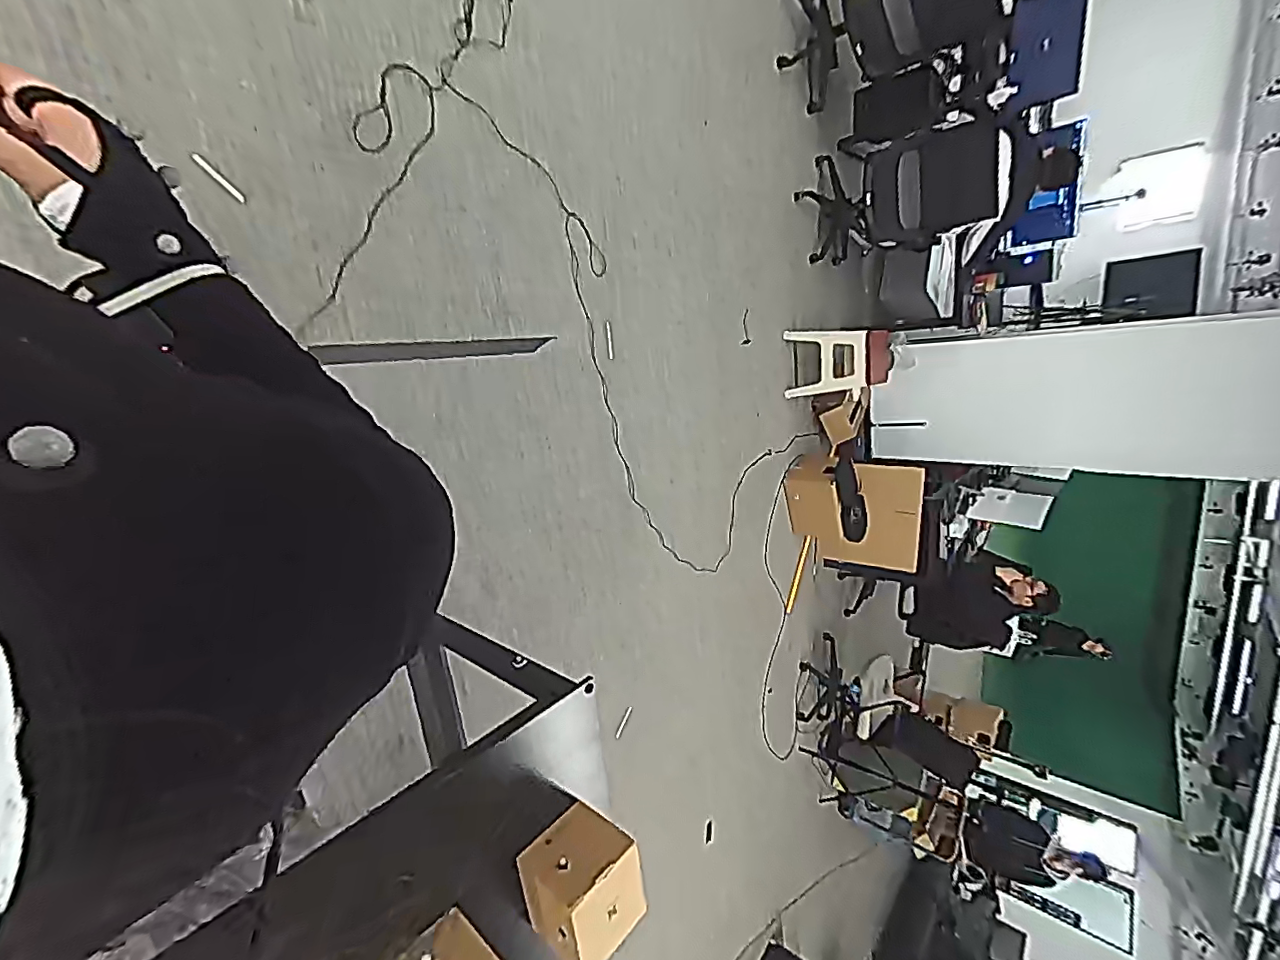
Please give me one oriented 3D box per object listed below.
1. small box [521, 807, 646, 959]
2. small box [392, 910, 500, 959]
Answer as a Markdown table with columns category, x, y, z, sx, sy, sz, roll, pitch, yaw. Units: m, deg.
| category | x | y | z | sx | sy | sz | roll | pitch | yaw |
| --- | --- | --- | --- | --- | --- | --- | --- | --- | --- |
| small box | -0.112 | 0.777 | 1.050 | 0.168 | 0.176 | 0.179 | -22 | 111 | -43 |
| small box | -0.302 | 0.840 | 0.844 | 0.168 | 0.176 | 0.179 | -22 | 109 | -45 |
